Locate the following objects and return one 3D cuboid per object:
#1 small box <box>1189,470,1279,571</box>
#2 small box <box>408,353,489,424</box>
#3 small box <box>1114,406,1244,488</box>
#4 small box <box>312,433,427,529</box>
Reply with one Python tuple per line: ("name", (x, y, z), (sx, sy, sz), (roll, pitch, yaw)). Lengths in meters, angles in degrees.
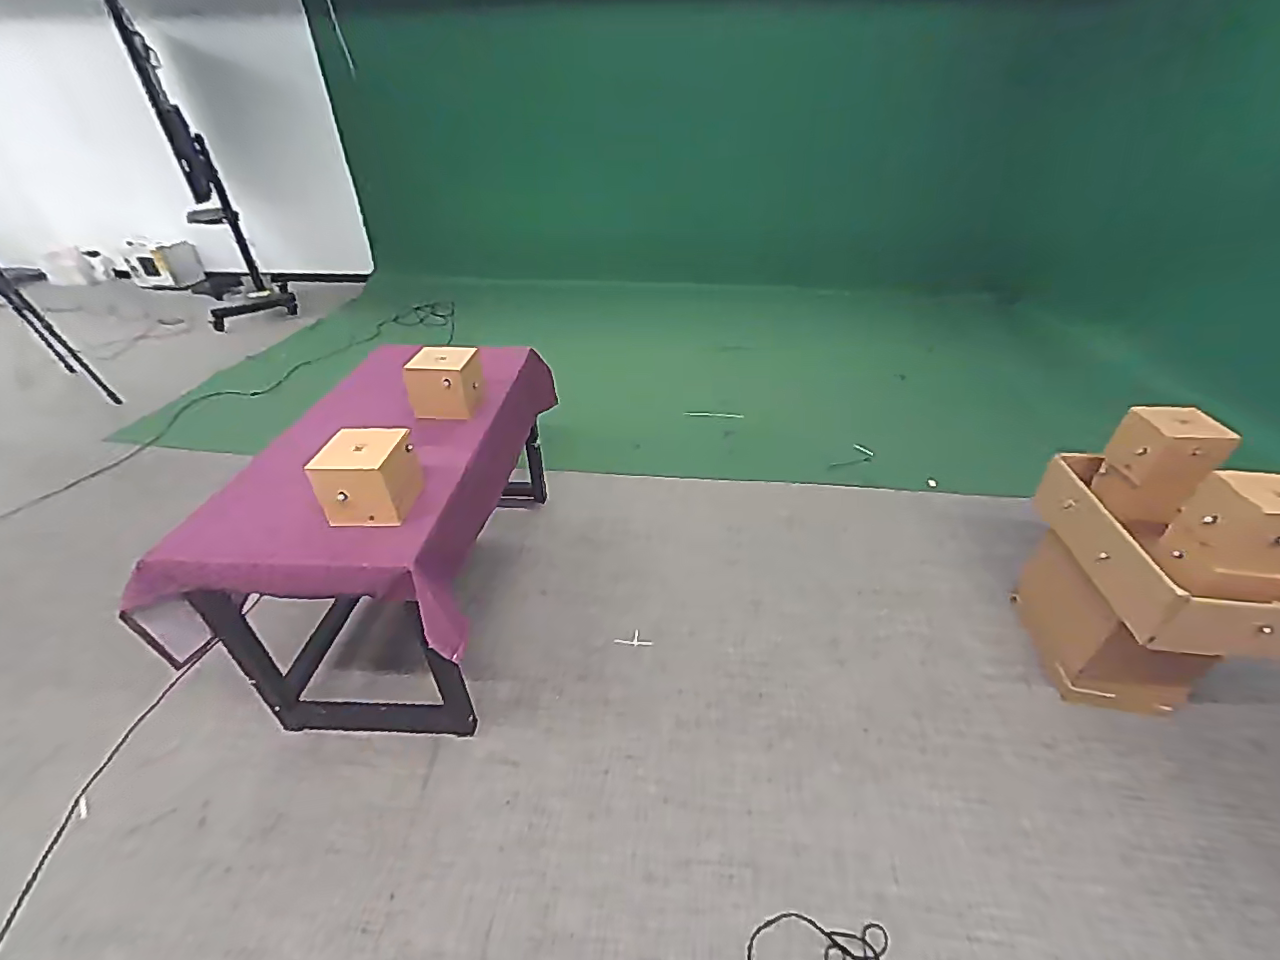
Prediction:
("small box", (1.431, 0.095, 1.240), (0.179, 0.176, 0.168), (4, 36, 9))
("small box", (-0.590, -0.287, 1.694), (0.179, 0.176, 0.168), (2, 35, 5))
("small box", (1.478, -0.092, 1.504), (0.179, 0.176, 0.168), (2, 36, 4))
("small box", (-0.629, 0.004, 1.285), (0.168, 0.176, 0.179), (0, 34, 2))
